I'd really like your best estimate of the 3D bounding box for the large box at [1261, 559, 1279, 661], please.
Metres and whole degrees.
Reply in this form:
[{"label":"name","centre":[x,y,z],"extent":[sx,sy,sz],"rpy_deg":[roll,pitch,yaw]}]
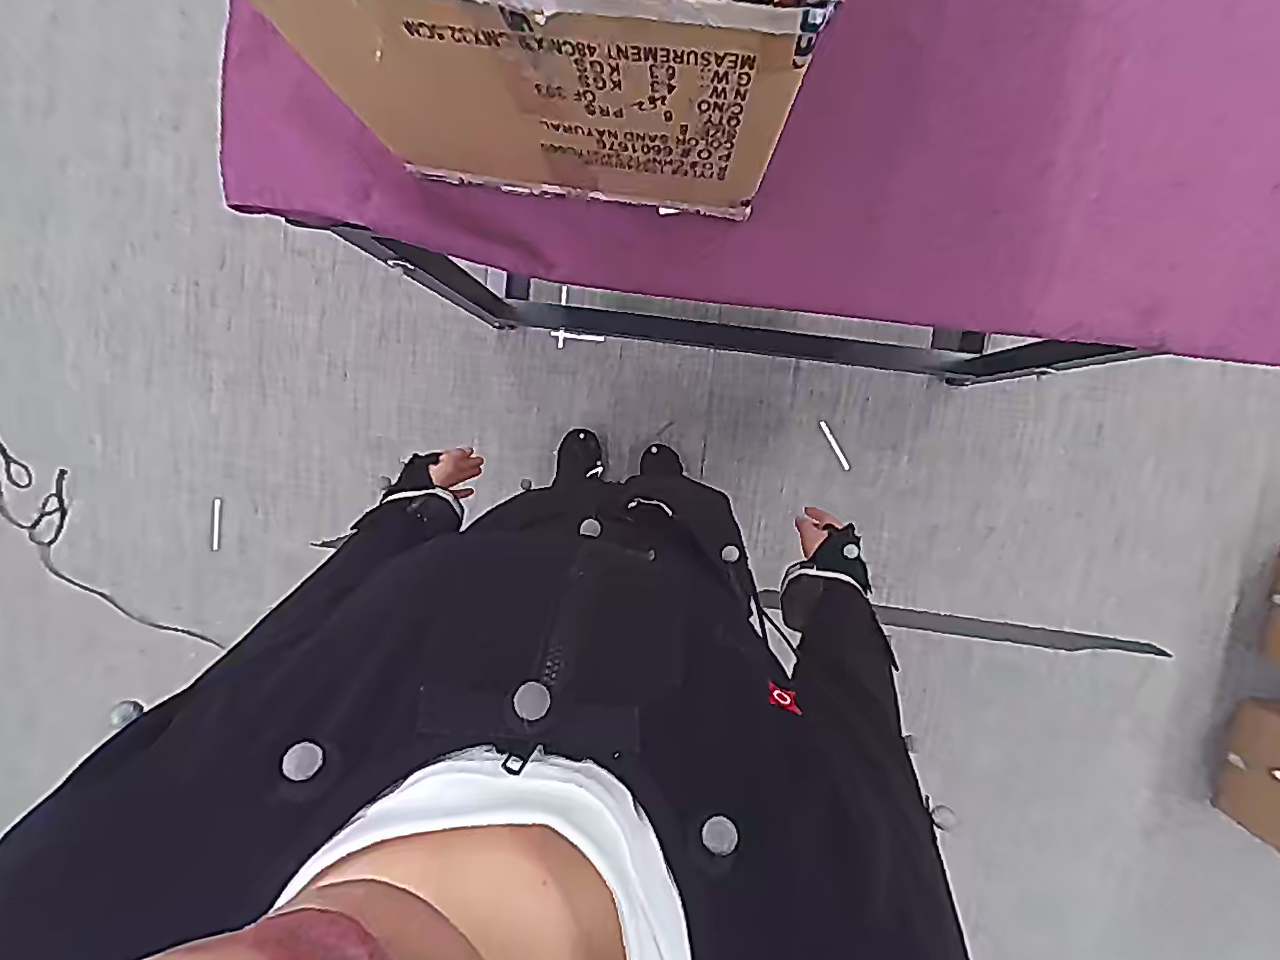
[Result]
[{"label":"large box","centre":[1.758,0.322,1.184],"extent":[0.408,0.320,0.320],"rpy_deg":[6,95,3]}]
